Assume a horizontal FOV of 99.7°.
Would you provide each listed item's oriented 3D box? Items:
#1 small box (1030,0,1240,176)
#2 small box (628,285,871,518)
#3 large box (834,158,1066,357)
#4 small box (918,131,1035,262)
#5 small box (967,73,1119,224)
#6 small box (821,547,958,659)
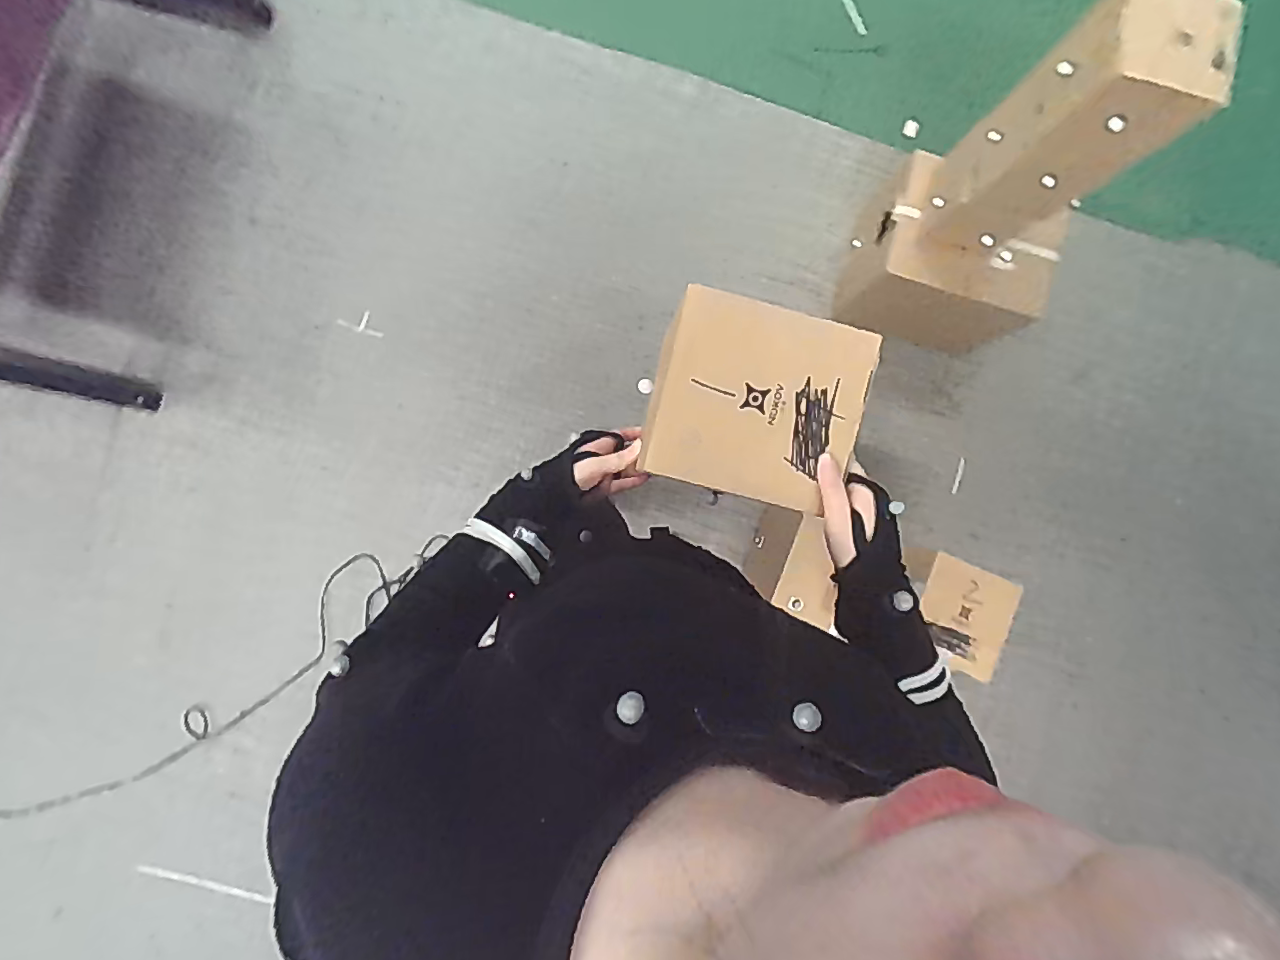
[{"bbox_3d":[0.772,-0.622,0.863,0.179,0.176,0.168,13,87,-3],"label":"small box"},{"bbox_3d":[0.092,-0.068,0.541,0.179,0.176,0.168,14,90,-4],"label":"small box"},{"bbox_3d":[0.794,-0.564,1.435,0.408,0.320,0.320,16,87,-4],"label":"large box"},{"bbox_3d":[0.746,-0.611,1.190,0.168,0.176,0.179,15,86,-3],"label":"small box"},{"bbox_3d":[0.763,-0.616,1.027,0.179,0.176,0.168,11,87,-4],"label":"small box"},{"bbox_3d":[0.513,0.248,1.138,0.179,0.176,0.168,23,87,-4],"label":"small box"}]
